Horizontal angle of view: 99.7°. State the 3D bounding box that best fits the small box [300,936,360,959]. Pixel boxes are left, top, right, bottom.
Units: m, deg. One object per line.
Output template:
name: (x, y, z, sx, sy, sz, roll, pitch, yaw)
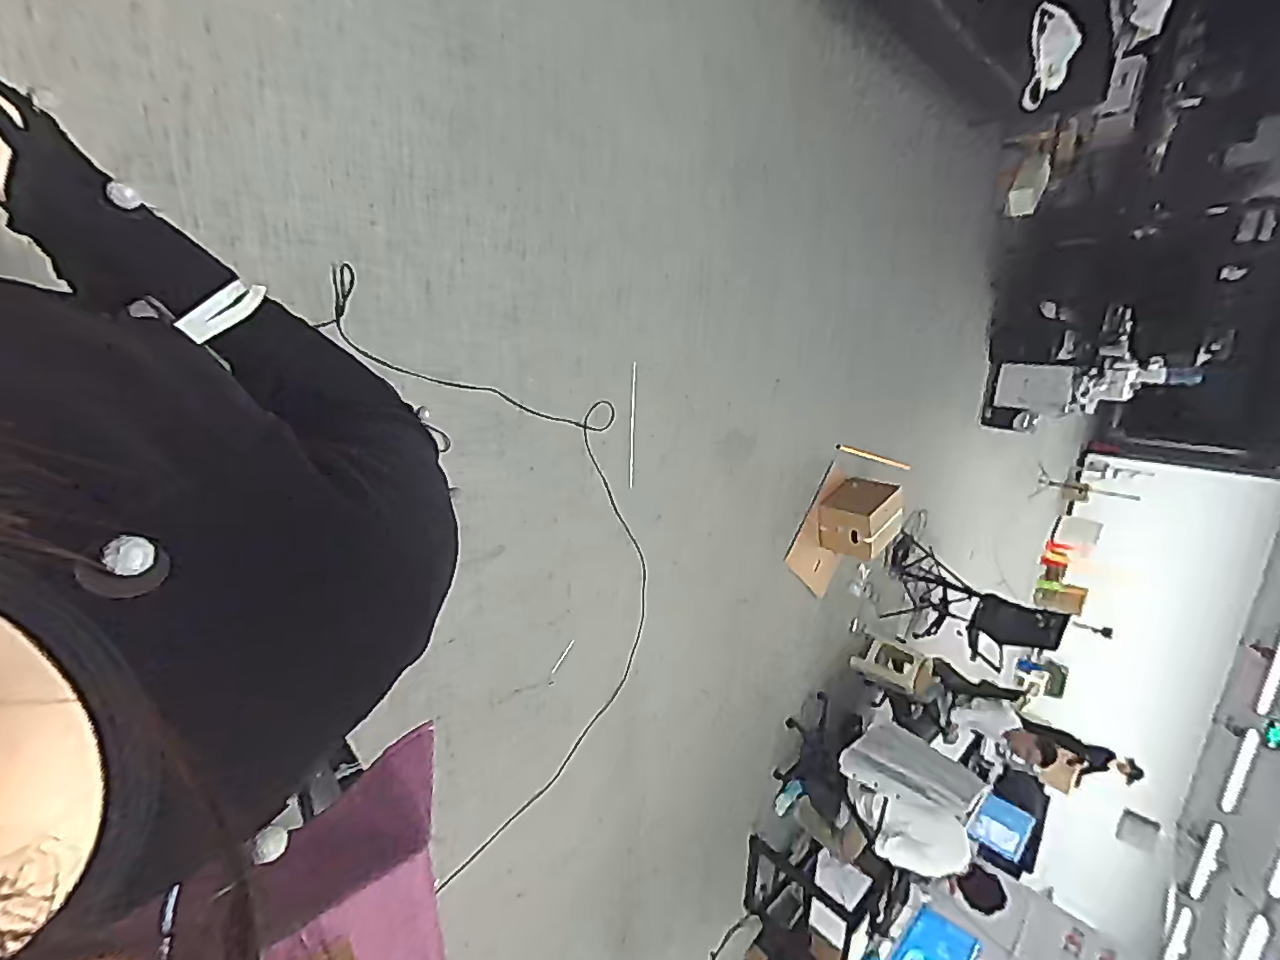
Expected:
small box: (-0.483, 0.836, 0.796, 0.168, 0.176, 0.179, -16, 114, -40)
